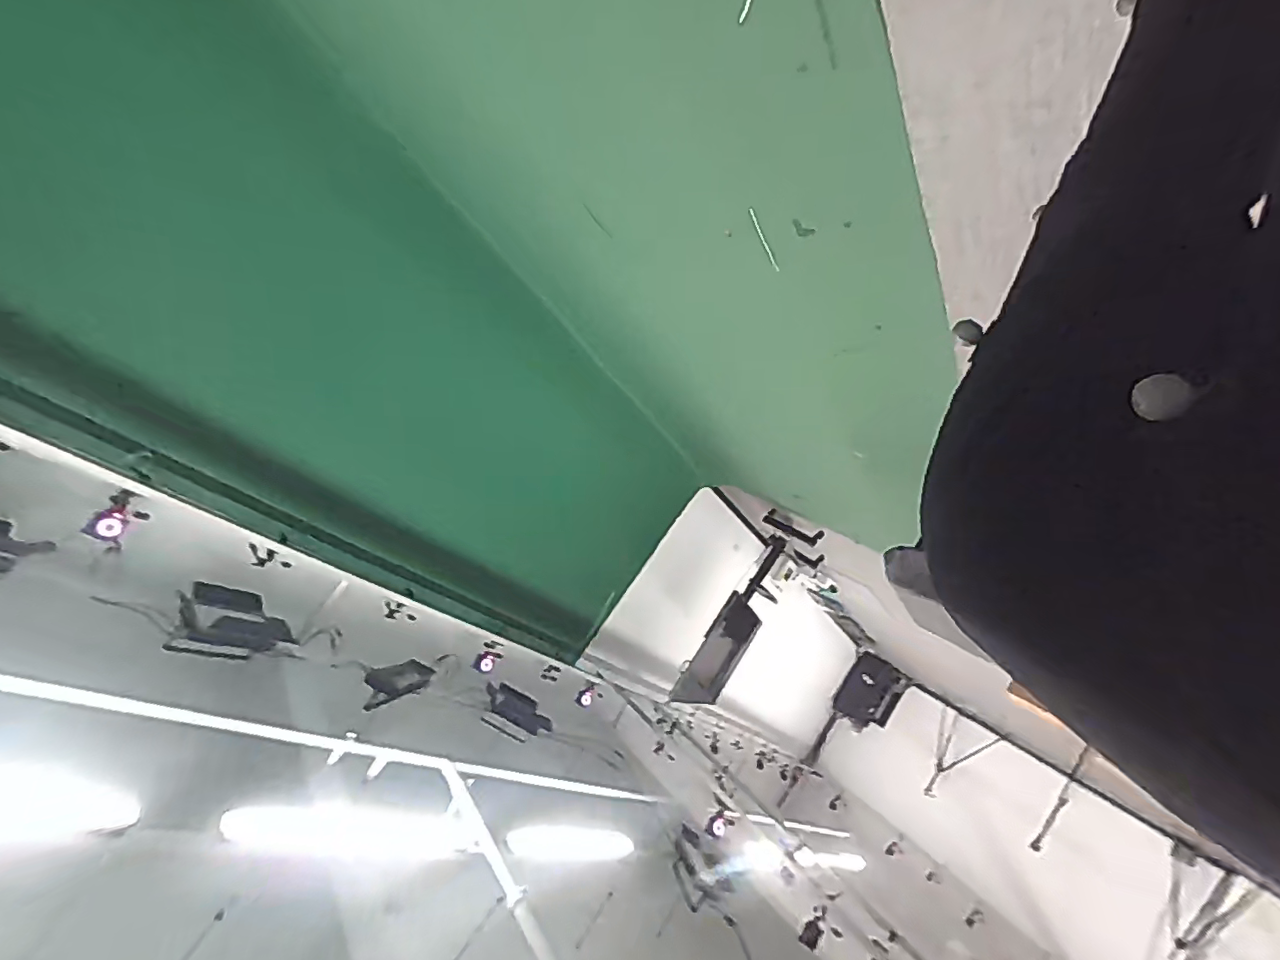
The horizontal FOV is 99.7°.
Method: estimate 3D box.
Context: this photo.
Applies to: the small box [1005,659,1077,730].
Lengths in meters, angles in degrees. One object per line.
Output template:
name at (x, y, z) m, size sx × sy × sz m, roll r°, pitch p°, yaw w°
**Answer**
small box at (1.549, 0.824, 2.084) m, size 0.179 × 0.176 × 0.168 m, roll 29°, pitch 169°, yaw 48°
